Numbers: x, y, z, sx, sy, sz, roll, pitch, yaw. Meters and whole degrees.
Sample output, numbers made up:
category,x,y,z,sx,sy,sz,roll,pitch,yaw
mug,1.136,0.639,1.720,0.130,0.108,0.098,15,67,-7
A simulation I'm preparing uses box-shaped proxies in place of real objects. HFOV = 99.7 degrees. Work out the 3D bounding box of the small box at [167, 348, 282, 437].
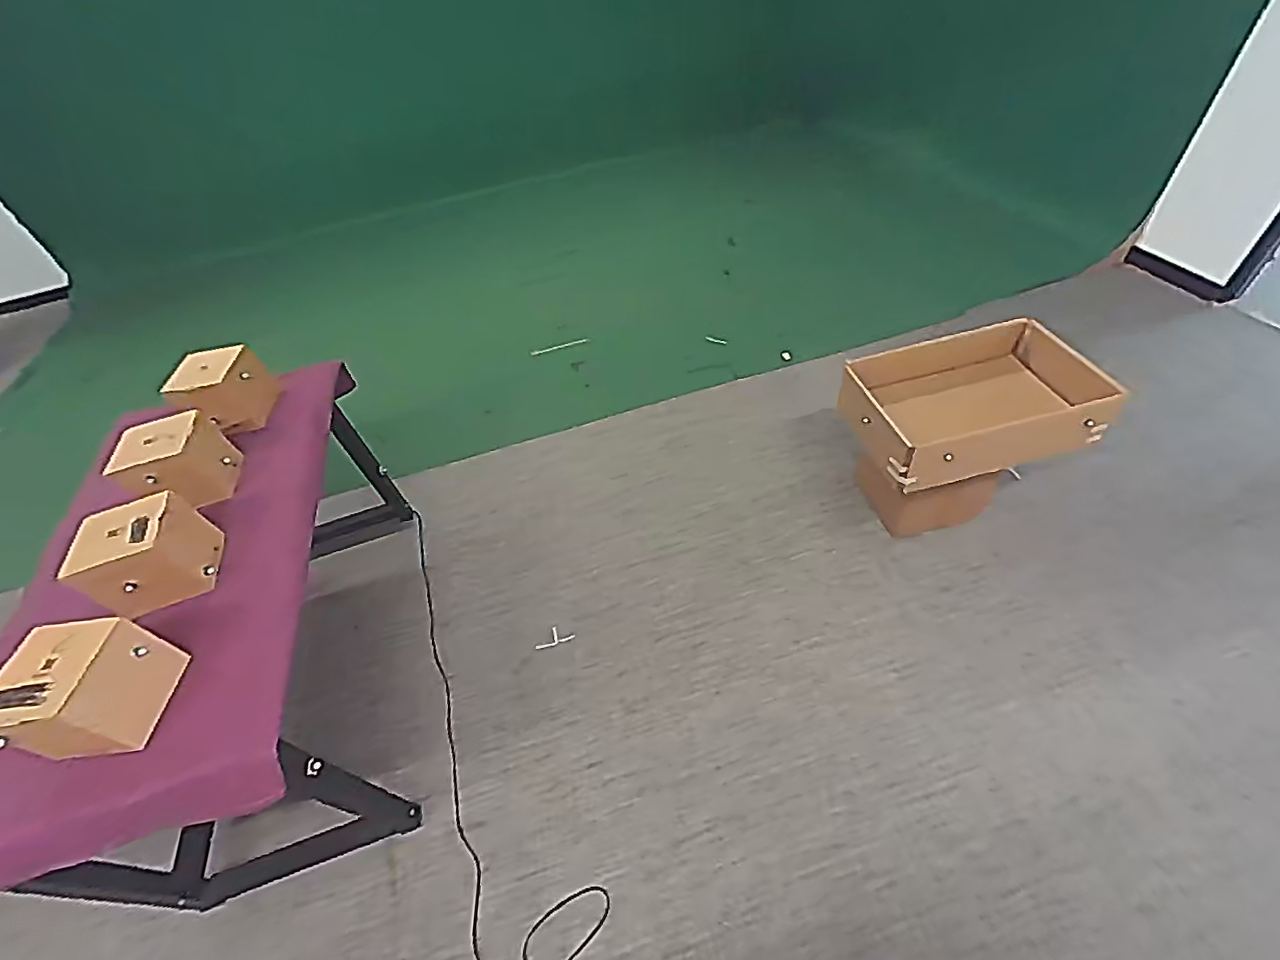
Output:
category,x,y,z,sx,sy,sz,roll,pitch,yaw
small box,-1.152,-0.242,1.519,0.168,0.176,0.179,-10,49,2

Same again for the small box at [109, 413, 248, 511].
category,x,y,z,sx,sy,sz,roll,pitch,yaw
small box,-1.120,-0.031,1.329,0.179,0.176,0.168,-18,49,-5

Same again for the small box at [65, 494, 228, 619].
category,x,y,z,sx,sy,sz,roll,pitch,yaw
small box,-1.021,0.163,1.141,0.179,0.176,0.168,-21,49,-7
